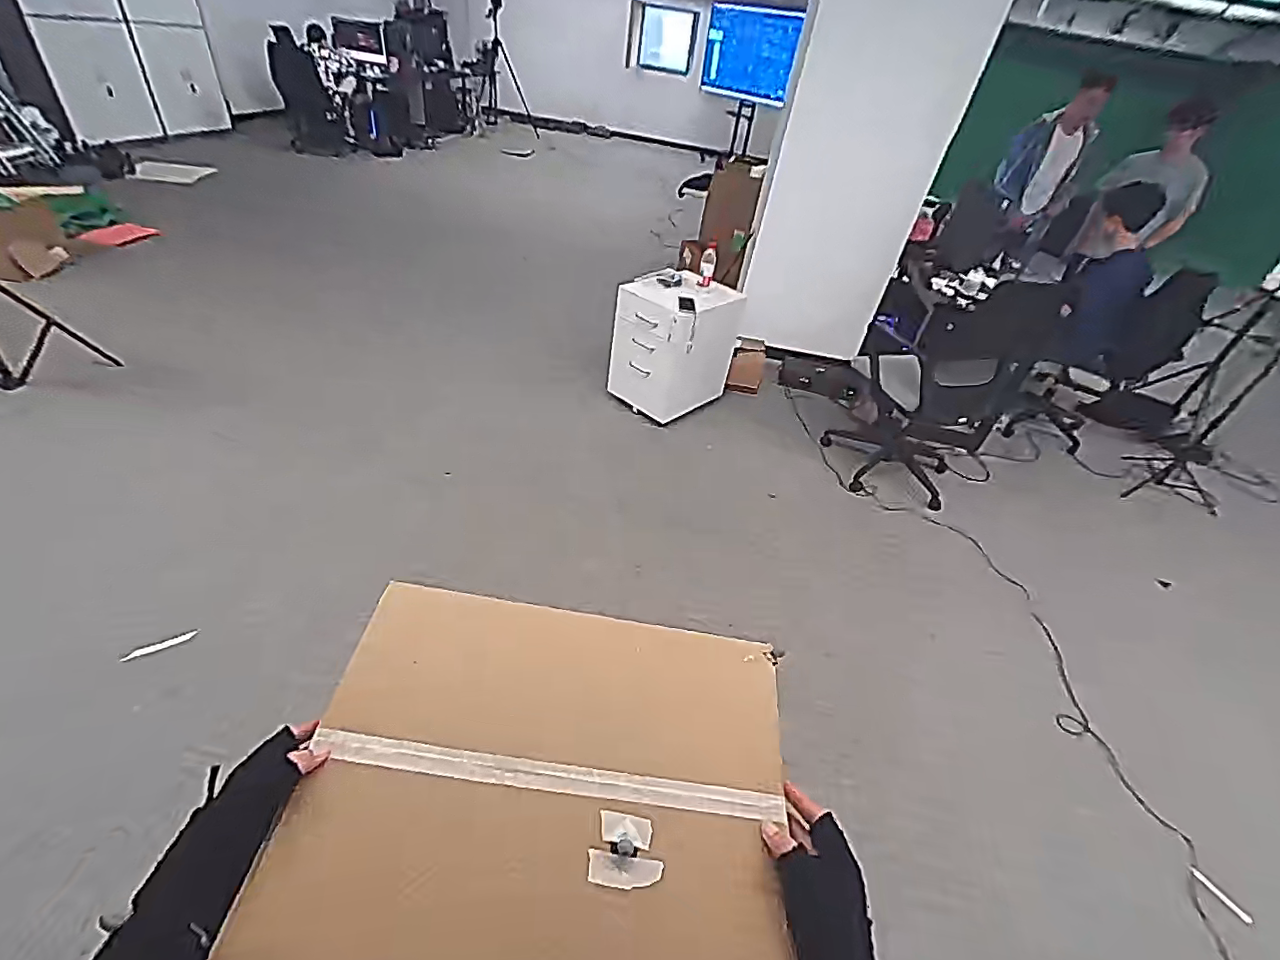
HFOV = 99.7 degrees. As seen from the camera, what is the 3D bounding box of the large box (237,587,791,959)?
[{"bbox_3d":[-0.095,0.354,0.586,0.408,0.320,0.320,11,48,-3],"label":"large box"}]
